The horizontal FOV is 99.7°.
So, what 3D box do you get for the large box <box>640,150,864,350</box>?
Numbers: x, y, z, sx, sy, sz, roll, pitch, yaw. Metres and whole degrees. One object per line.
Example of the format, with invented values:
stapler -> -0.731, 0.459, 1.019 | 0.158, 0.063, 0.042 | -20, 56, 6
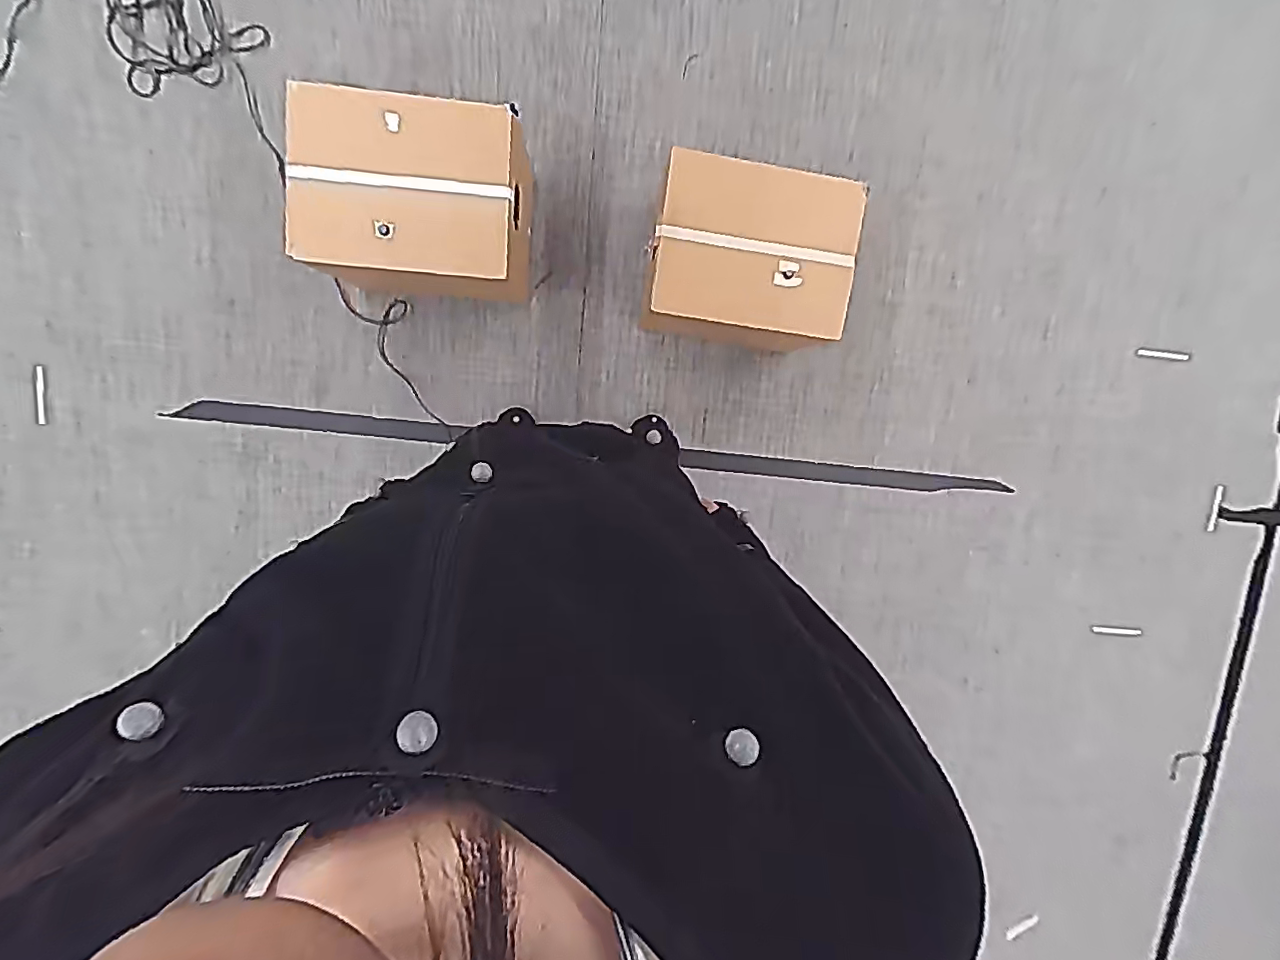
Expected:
large box -> 0.226, -0.492, 1.237 | 0.408, 0.320, 0.320 | 7, 98, -7
